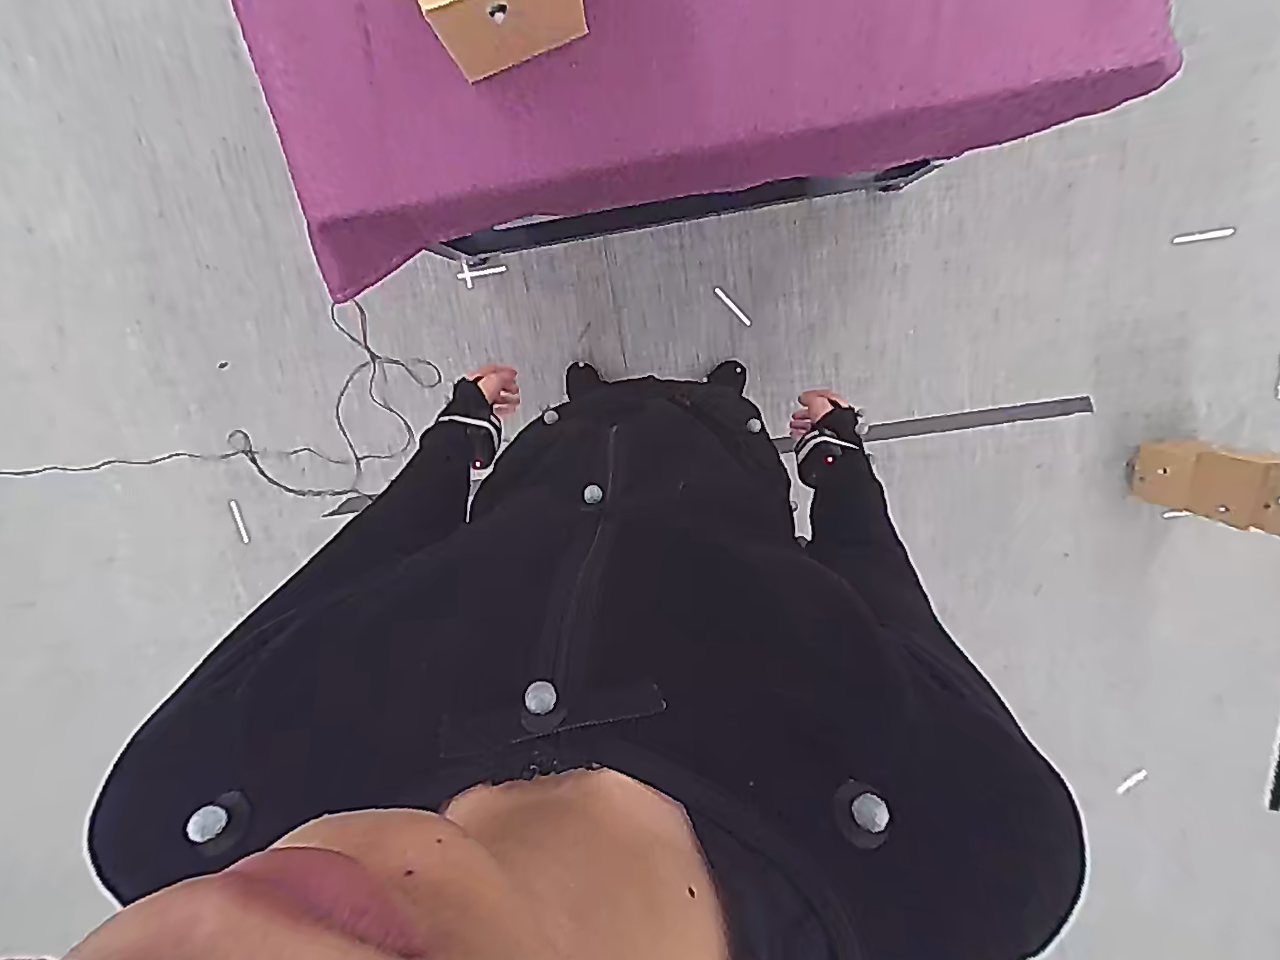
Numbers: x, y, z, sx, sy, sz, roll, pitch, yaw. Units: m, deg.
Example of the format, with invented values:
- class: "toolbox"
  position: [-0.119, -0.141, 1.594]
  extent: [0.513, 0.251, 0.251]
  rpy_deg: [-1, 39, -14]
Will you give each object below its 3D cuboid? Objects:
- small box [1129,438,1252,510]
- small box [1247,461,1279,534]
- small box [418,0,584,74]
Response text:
- class: "small box"
  position: [1.564, -0.020, 1.549]
  extent: [0.179, 0.176, 0.168]
  rpy_deg: [-5, 105, 1]
- class: "small box"
  position: [1.575, 0.054, 1.227]
  extent: [0.179, 0.176, 0.168]
  rpy_deg: [2, 106, 0]
- class: "small box"
  position: [-0.178, -0.622, 0.630]
  extent: [0.179, 0.176, 0.168]
  rpy_deg: [-19, 105, 4]
